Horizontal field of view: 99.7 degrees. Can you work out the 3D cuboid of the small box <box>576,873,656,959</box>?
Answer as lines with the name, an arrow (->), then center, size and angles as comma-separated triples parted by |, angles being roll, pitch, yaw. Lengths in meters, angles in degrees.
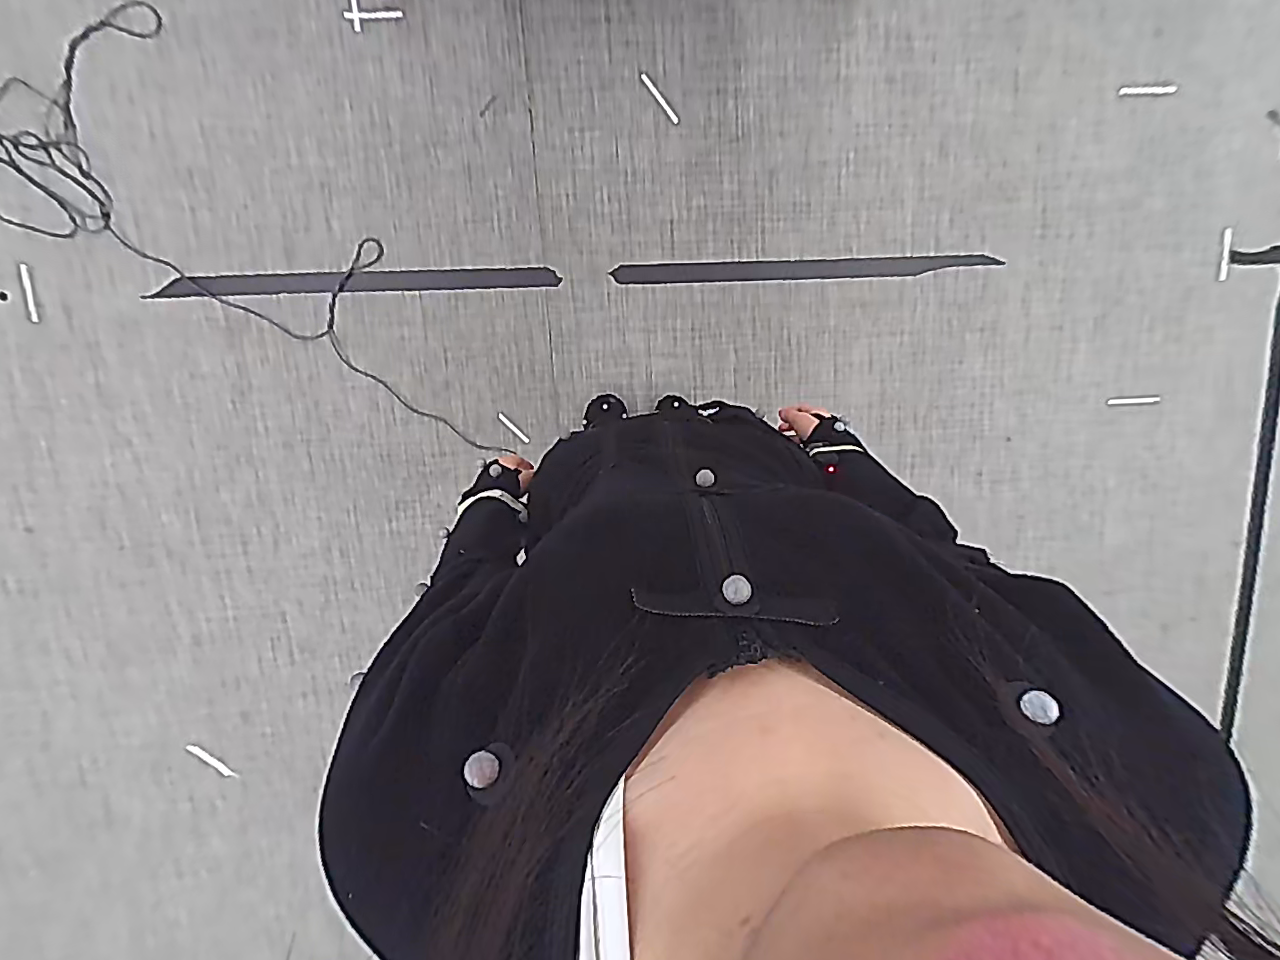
small box -> -0.055, 1.076, 1.284 | 0.179, 0.176, 0.168 | -4, 98, -2
